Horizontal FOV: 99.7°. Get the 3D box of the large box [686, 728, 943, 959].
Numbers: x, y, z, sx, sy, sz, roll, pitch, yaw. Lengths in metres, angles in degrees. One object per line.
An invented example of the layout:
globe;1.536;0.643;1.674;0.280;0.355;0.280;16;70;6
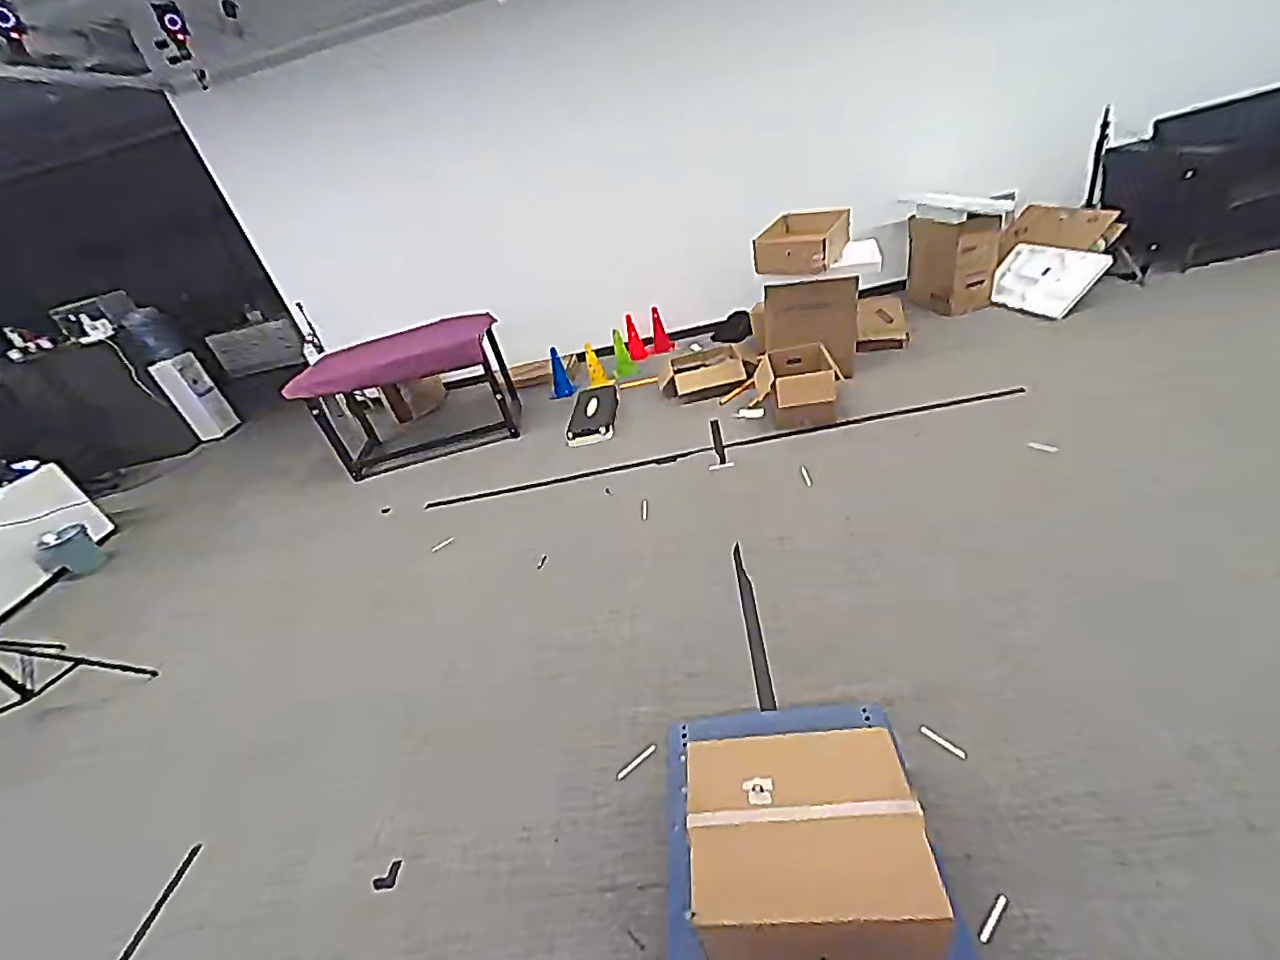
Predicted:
large box;0.322;0.741;1.074;0.408;0.320;0.320;-10;32;9
